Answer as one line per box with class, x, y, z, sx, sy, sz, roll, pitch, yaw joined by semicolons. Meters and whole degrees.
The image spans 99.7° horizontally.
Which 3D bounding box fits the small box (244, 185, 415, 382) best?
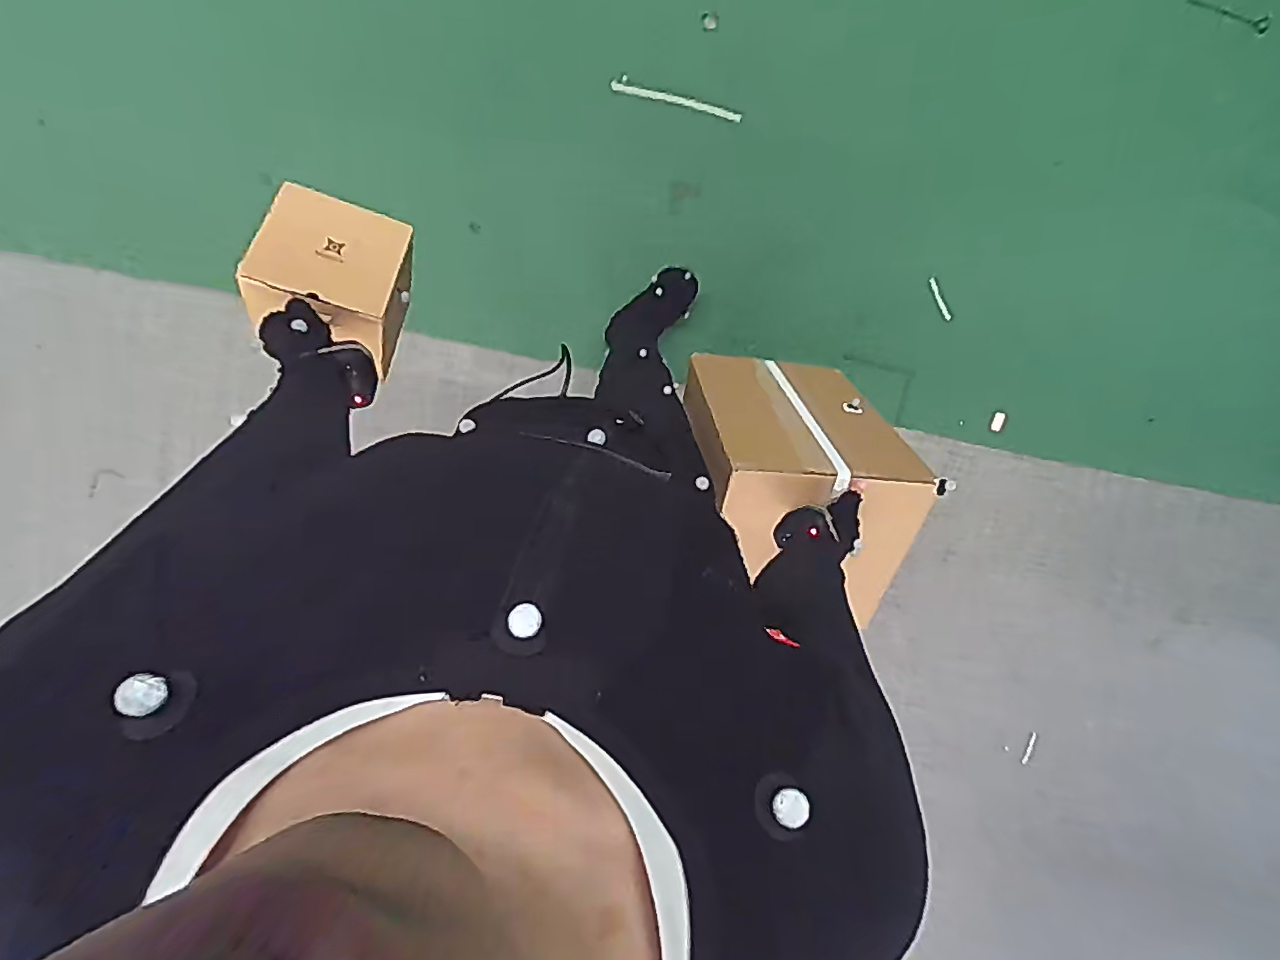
small box;-0.440;-0.276;0.789;0.168;0.176;0.179;14;63;-20
